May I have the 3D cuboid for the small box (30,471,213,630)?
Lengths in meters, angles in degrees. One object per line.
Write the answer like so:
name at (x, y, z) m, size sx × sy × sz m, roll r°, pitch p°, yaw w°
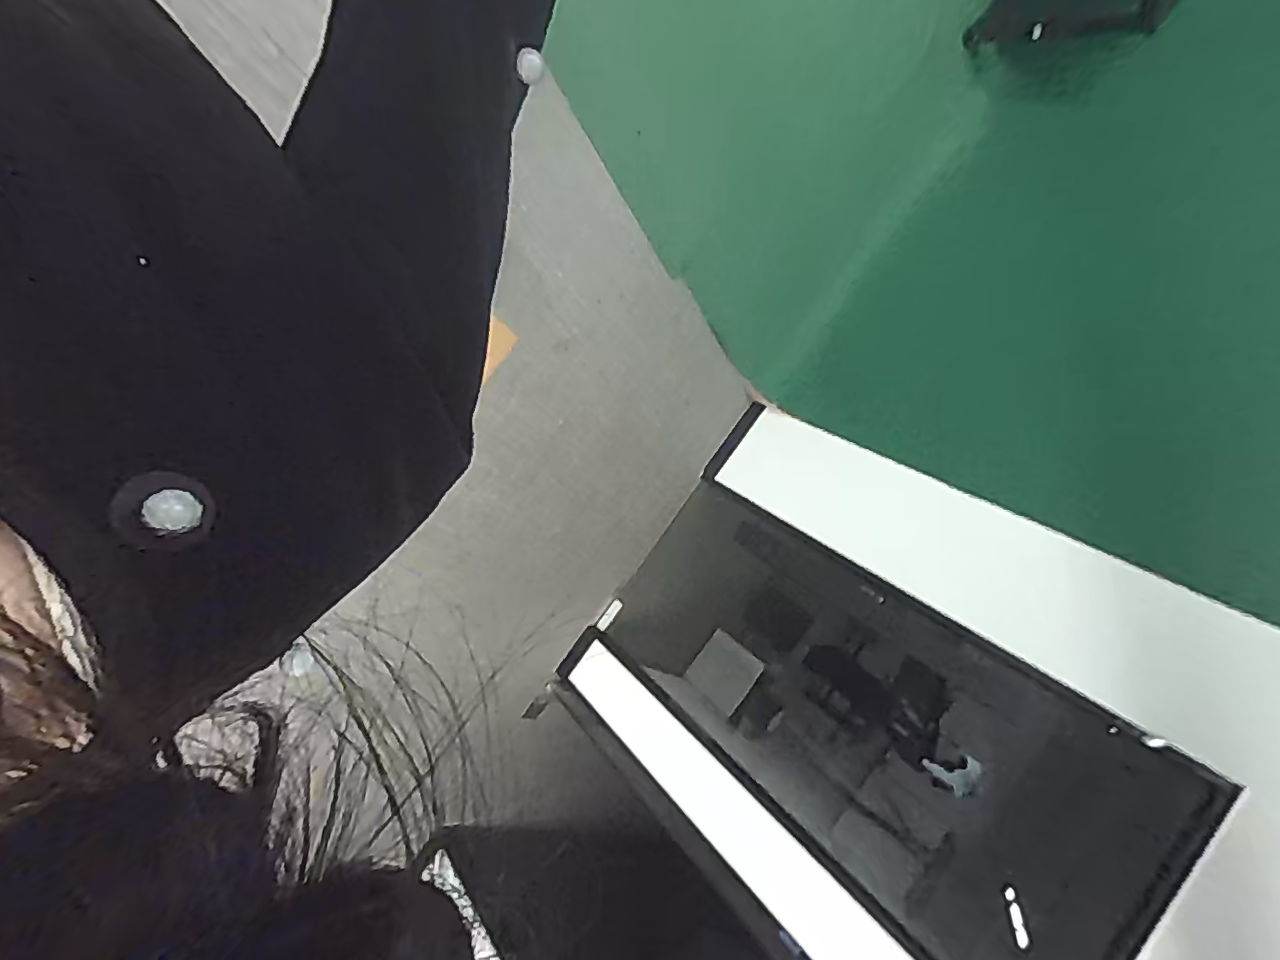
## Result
small box at (-0.883, 0.114, 0.934) m, size 0.168 × 0.176 × 0.179 m, roll -28°, pitch 135°, yaw -30°
